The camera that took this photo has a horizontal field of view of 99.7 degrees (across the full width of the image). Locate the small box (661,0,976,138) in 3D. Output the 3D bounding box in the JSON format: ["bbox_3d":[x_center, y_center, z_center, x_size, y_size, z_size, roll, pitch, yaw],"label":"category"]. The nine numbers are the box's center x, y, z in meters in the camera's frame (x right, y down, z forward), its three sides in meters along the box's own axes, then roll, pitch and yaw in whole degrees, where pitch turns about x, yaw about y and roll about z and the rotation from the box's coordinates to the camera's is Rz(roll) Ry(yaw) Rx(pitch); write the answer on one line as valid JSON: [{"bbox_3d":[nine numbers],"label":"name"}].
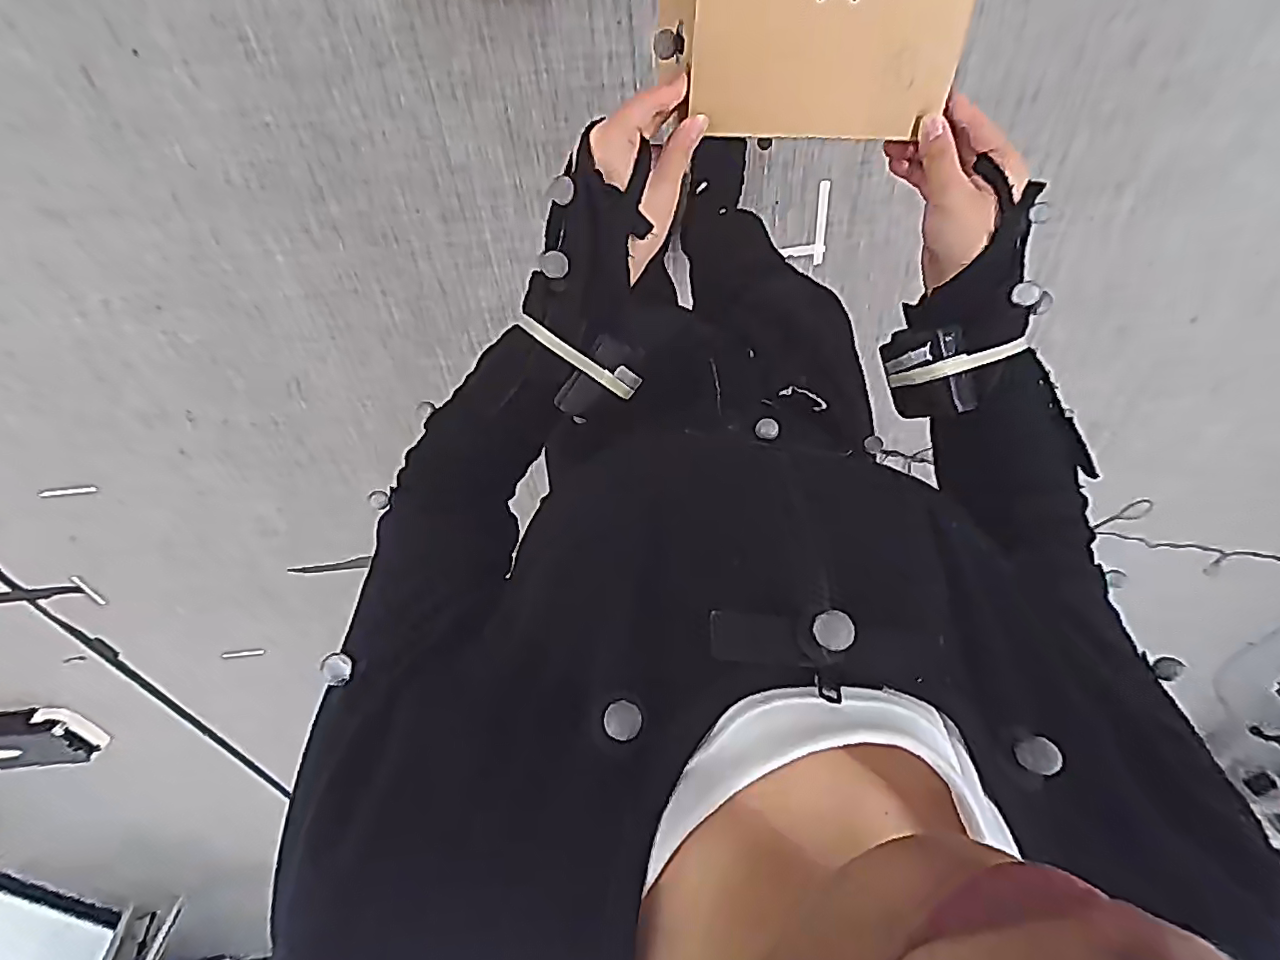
[{"bbox_3d":[0.107,-0.340,0.355,0.168,0.176,0.179,-2,128,-6],"label":"small box"}]
